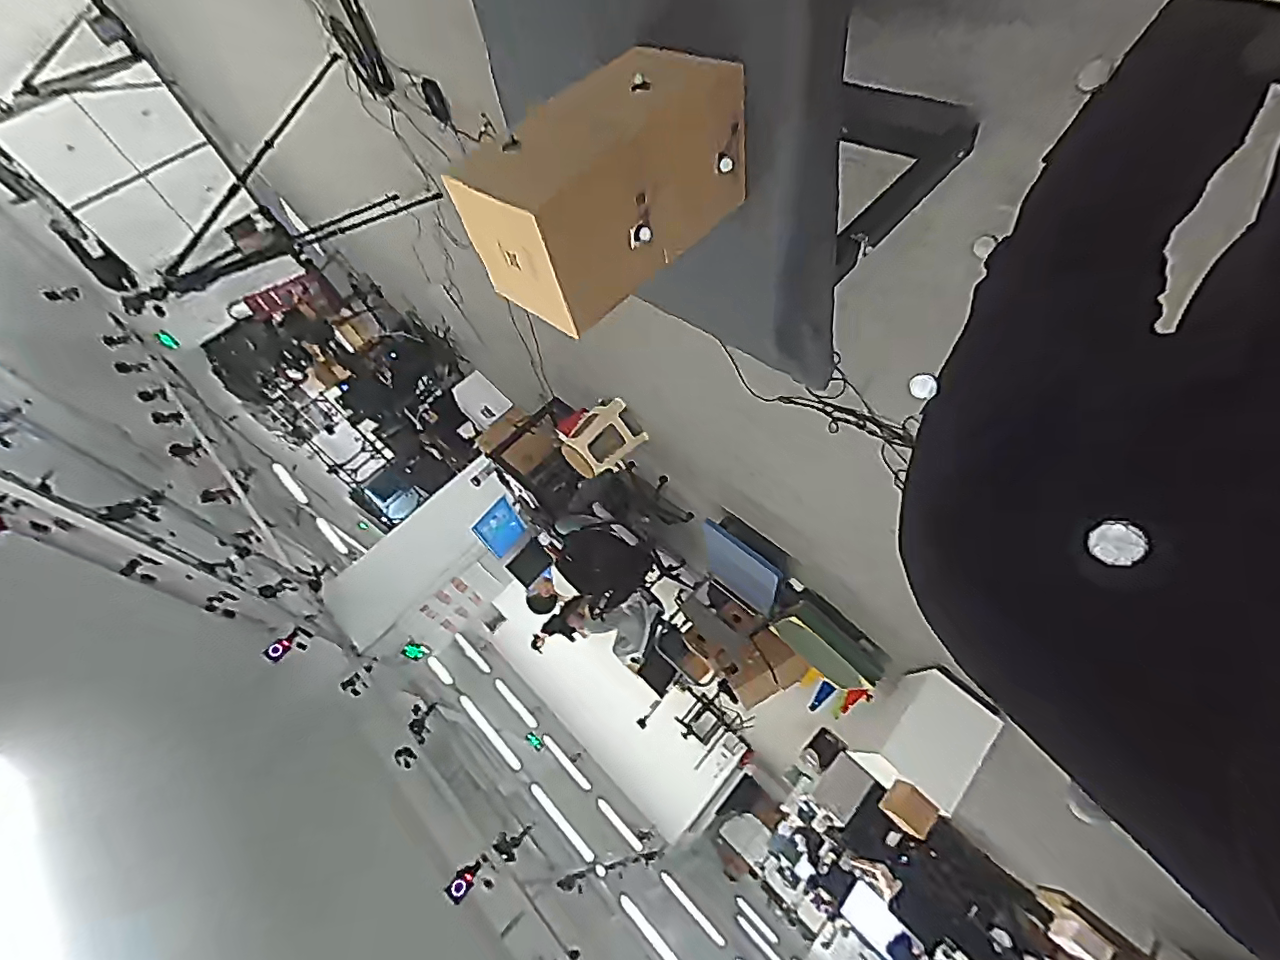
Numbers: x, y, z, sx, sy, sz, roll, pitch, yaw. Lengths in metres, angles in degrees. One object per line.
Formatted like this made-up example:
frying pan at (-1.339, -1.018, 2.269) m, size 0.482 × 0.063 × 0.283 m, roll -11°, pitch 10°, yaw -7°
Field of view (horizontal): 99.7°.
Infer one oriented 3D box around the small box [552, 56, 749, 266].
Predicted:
small box at (0.021, -0.418, 0.703) m, size 0.179 × 0.176 × 0.168 m, roll 35°, pitch 160°, yaw 29°

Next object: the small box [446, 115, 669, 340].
small box at (-0.090, -0.309, 0.654) m, size 0.179 × 0.176 × 0.168 m, roll 34°, pitch 160°, yaw 30°
